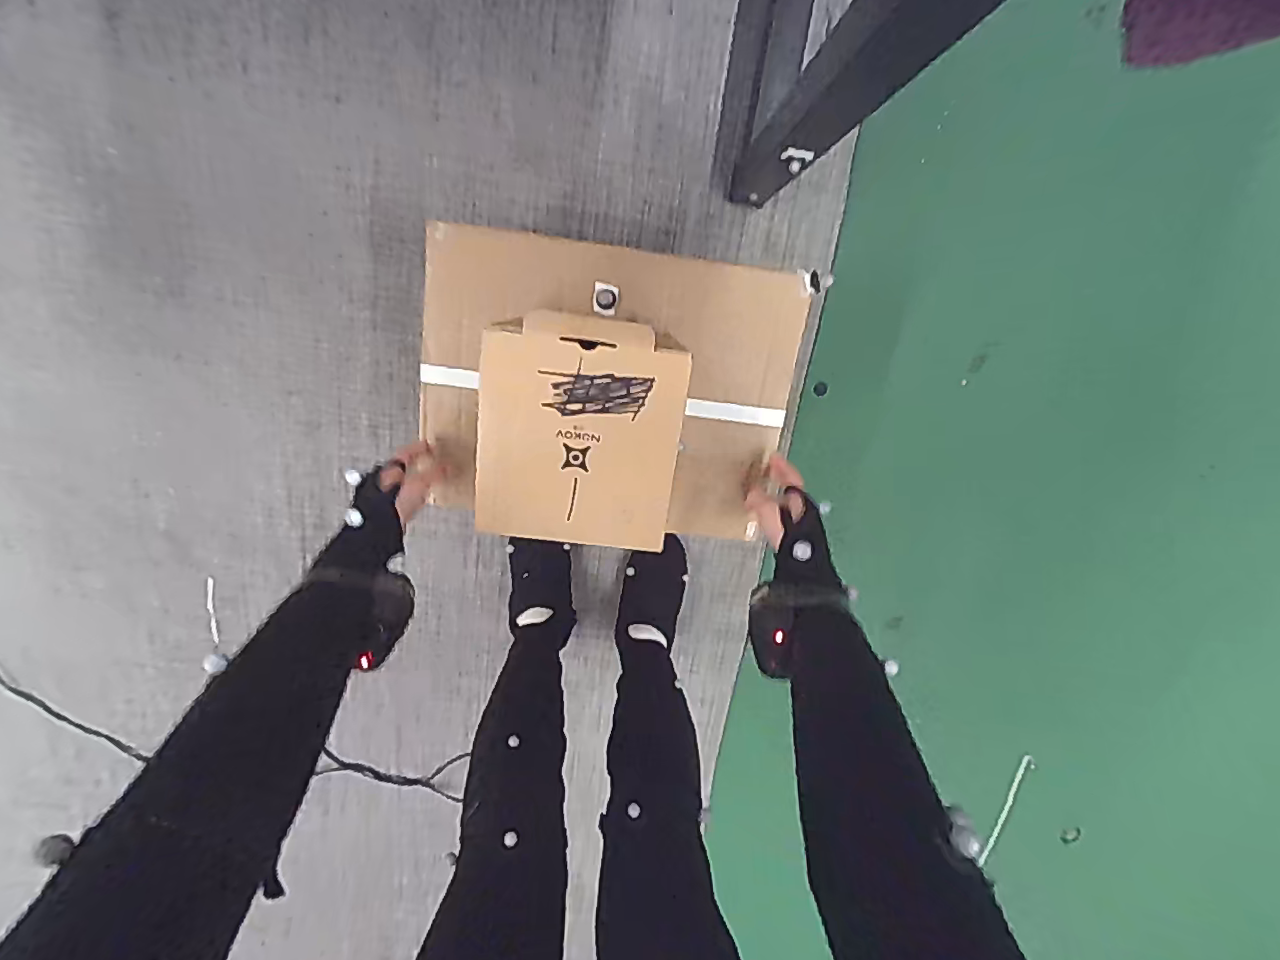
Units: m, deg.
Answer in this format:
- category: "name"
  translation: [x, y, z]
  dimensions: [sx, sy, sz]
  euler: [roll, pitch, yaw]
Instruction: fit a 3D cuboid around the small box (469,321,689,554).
- category: "small box"
  translation: [-0.056, -0.052, 0.517]
  dimensions: [0.168, 0.176, 0.179]
  euler: [7, 109, -3]
